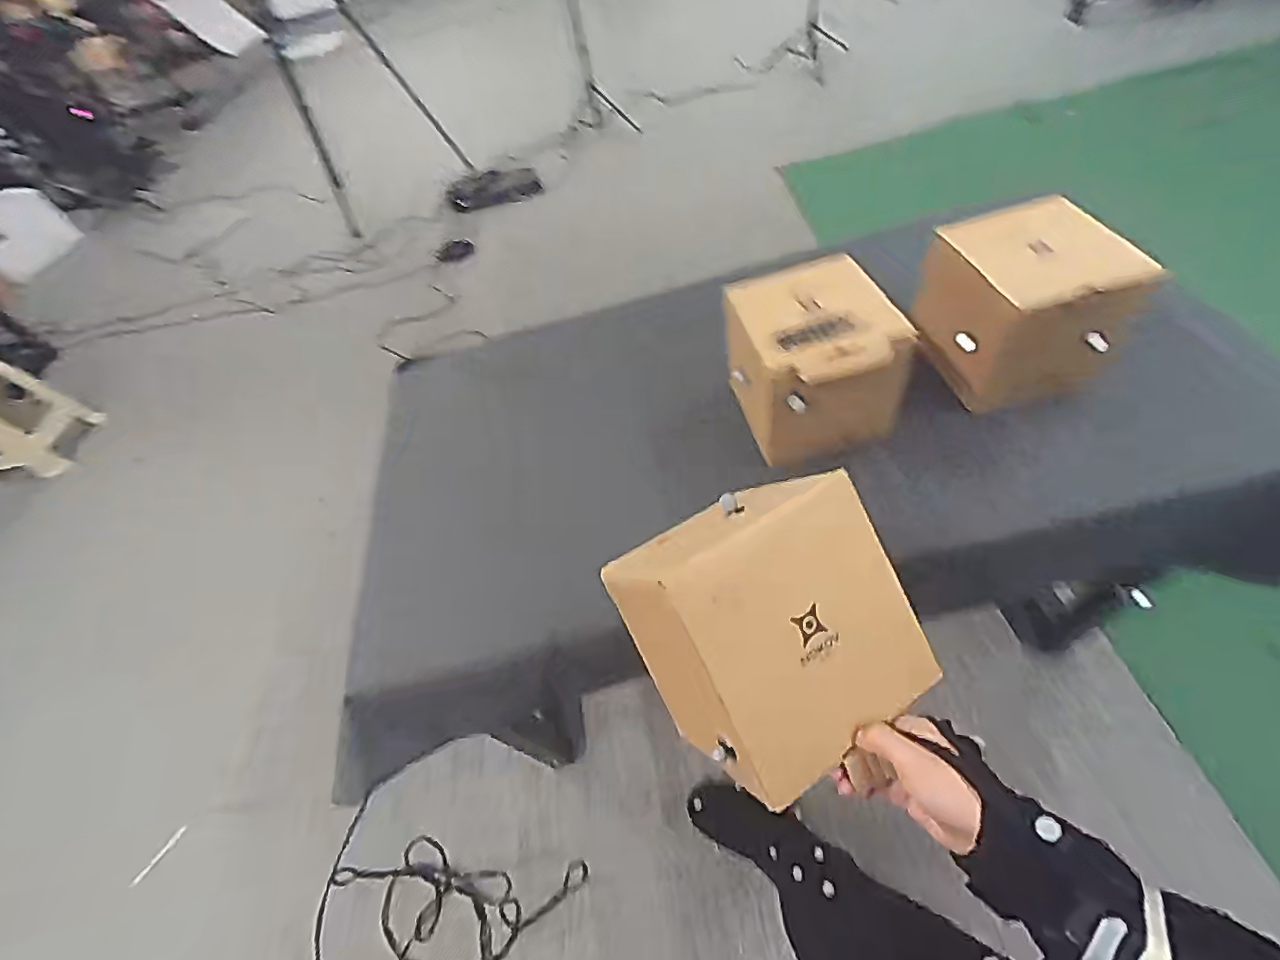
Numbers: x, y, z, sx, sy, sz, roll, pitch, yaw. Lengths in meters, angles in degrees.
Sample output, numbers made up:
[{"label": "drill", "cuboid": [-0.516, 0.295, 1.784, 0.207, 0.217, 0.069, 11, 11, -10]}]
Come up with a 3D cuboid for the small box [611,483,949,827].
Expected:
[{"label": "small box", "cuboid": [0.096, 0.120, 0.439, 0.168, 0.176, 0.179, -26, 93, -19]}]

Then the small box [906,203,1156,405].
[{"label": "small box", "cuboid": [0.474, -0.216, 0.694, 0.168, 0.176, 0.179, -15, 51, 1]}]
